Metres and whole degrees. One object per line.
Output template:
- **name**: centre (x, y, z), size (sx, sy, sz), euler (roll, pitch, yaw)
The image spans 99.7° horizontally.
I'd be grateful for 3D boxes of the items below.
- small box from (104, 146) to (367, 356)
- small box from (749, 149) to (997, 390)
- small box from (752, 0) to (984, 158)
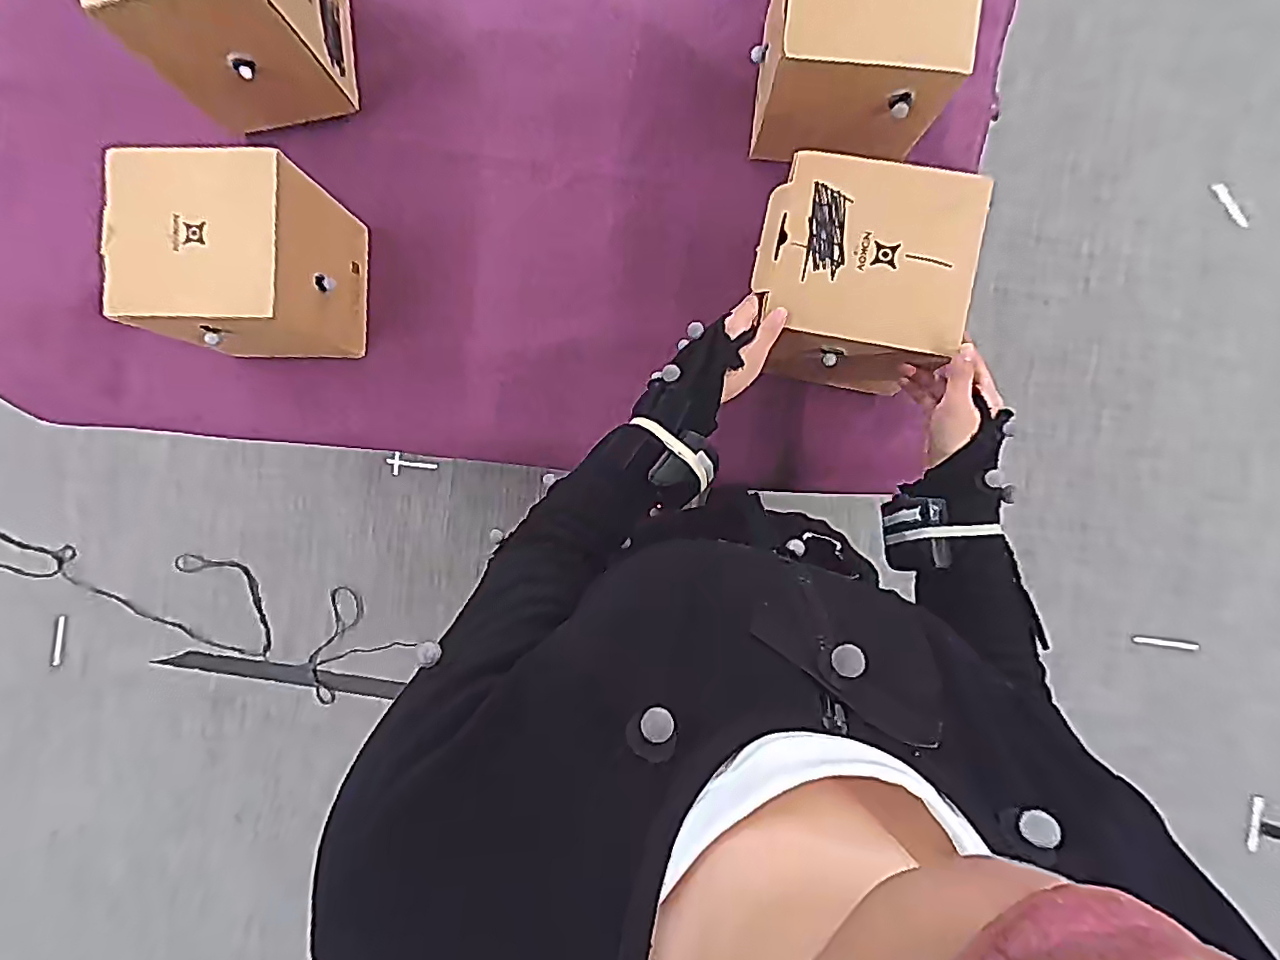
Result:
- **small box**: centre (-0.426, -0.238, 0.598), size (0.179, 0.176, 0.168), euler (1, 90, 3)
- **small box**: centre (0.218, -0.199, 0.556), size (0.179, 0.176, 0.168), euler (12, 89, 5)
- **small box**: centre (0.225, -0.458, 0.562), size (0.179, 0.176, 0.168), euler (7, 92, 2)
